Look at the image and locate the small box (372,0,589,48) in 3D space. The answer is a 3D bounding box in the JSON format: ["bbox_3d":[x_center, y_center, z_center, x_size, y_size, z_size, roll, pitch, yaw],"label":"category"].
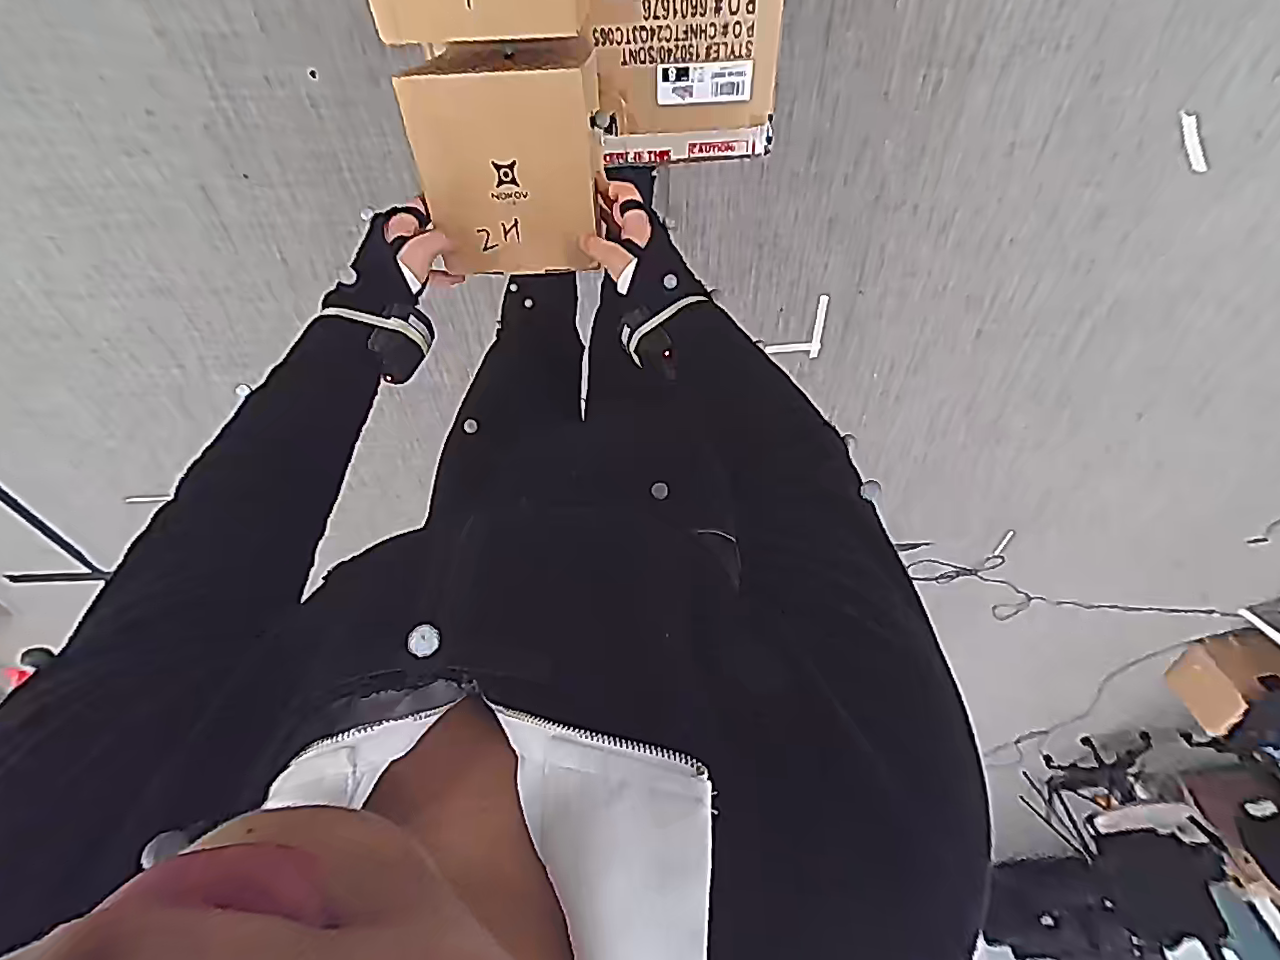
[{"bbox_3d":[-0.134,-0.480,0.443,0.168,0.176,0.179,-1,137,1],"label":"small box"}]

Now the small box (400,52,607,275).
[{"bbox_3d":[-0.125,-0.340,0.577,0.168,0.176,0.179,-1,134,2],"label":"small box"}]
